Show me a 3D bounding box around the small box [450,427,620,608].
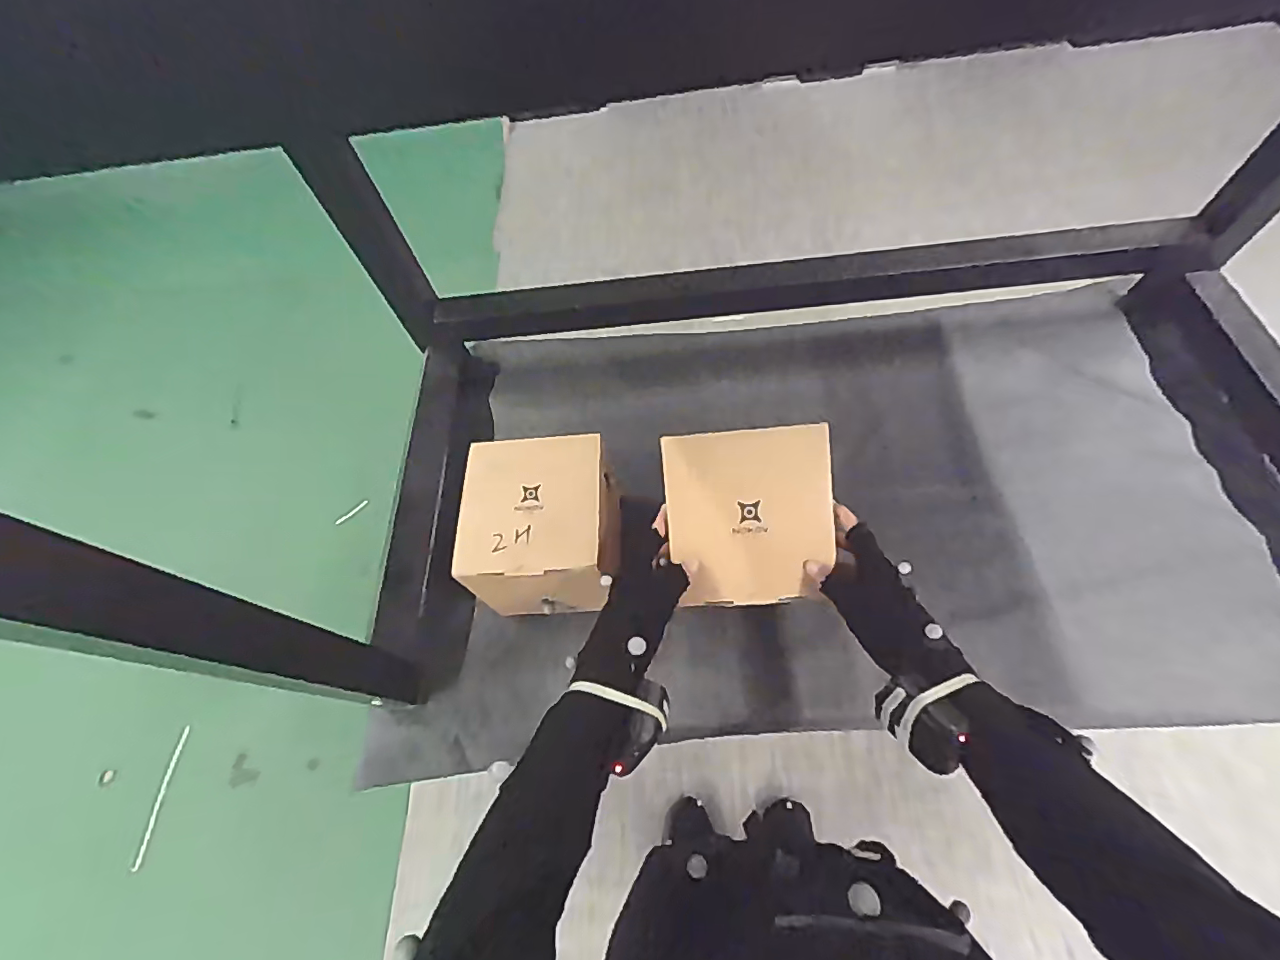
[{"bbox_3d":[-0.120,0.054,0.696,0.168,0.176,0.179,-4,61,6],"label":"small box"}]

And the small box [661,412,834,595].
[{"bbox_3d":[0.112,0.019,0.616,0.168,0.176,0.179,-5,95,6],"label":"small box"}]
